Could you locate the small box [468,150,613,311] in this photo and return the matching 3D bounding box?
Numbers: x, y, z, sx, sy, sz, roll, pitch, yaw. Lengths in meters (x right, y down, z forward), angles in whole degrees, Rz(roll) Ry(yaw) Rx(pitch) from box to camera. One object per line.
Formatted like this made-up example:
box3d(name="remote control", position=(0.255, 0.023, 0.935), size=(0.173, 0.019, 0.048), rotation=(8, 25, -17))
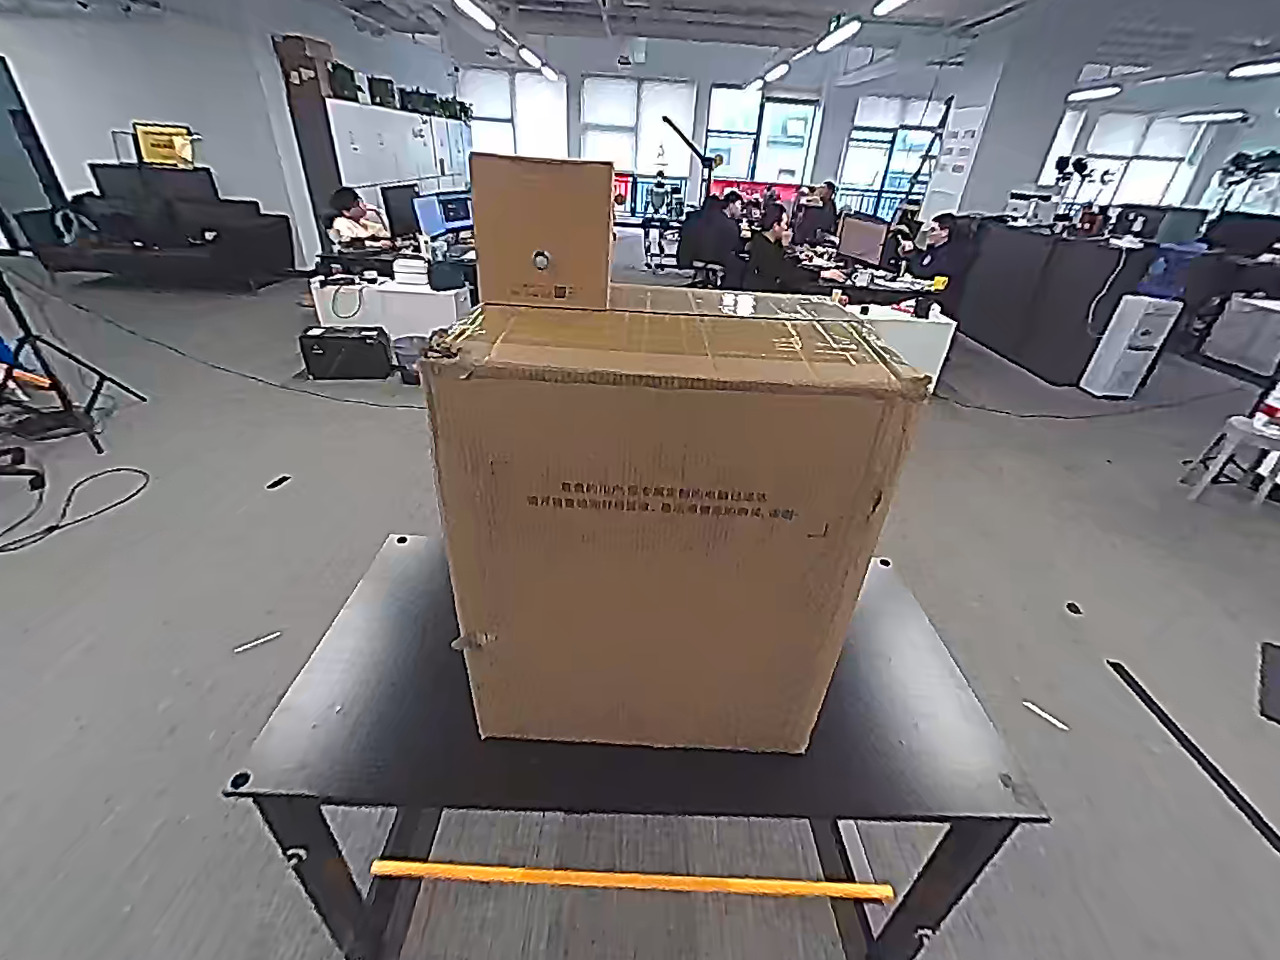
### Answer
box3d(name="small box", position=(-0.124, -0.335, 0.728), size=(0.168, 0.176, 0.179), rotation=(2, 29, -3))
